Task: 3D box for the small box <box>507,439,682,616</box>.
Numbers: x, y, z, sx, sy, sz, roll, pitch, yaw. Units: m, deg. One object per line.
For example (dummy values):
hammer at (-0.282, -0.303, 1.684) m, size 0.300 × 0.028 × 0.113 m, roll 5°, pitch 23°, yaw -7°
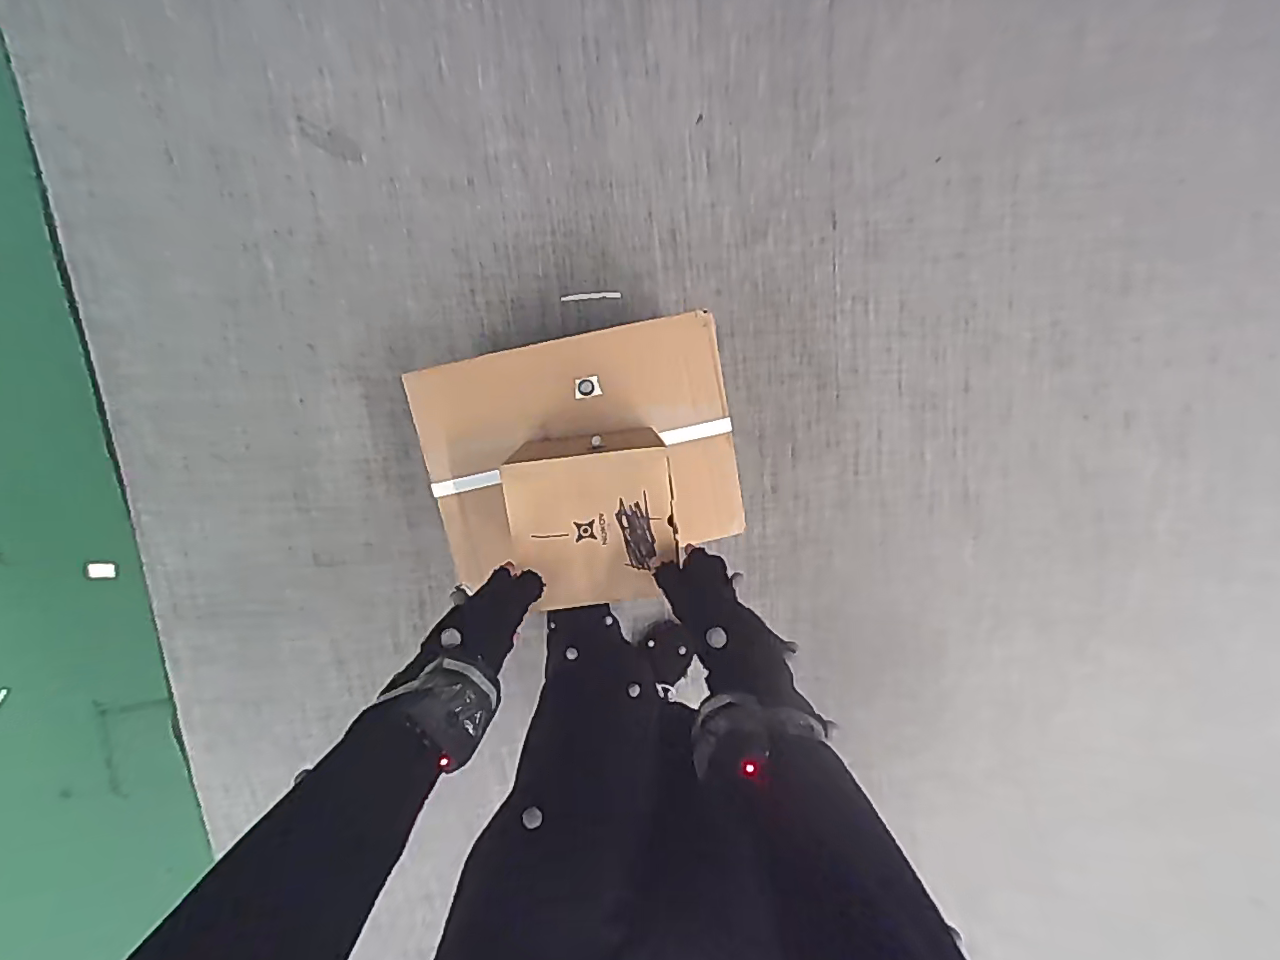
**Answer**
small box at (-0.052, 0.046, 0.660) m, size 0.179 × 0.176 × 0.168 m, roll -6°, pitch 101°, yaw -2°
